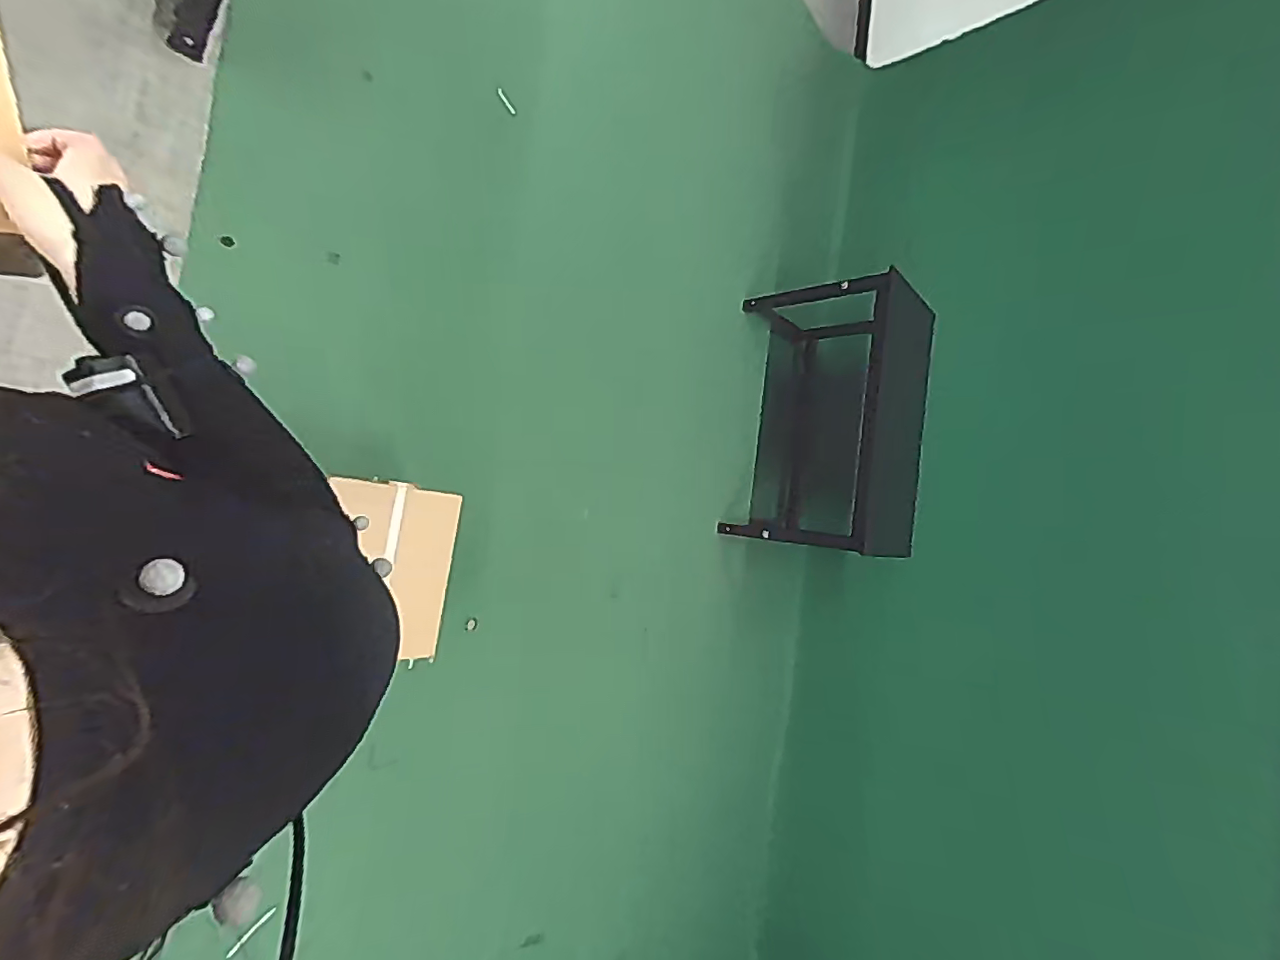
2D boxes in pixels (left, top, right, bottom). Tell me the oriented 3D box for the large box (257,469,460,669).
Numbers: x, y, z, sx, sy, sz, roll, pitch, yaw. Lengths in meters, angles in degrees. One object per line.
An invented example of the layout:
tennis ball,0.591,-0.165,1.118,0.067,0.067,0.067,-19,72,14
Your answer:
large box,-0.683,0.199,1.316,0.320,0.320,0.408,13,84,-47

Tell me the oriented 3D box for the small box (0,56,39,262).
small box,-0.531,-0.253,0.348,0.168,0.176,0.179,-14,108,-46
